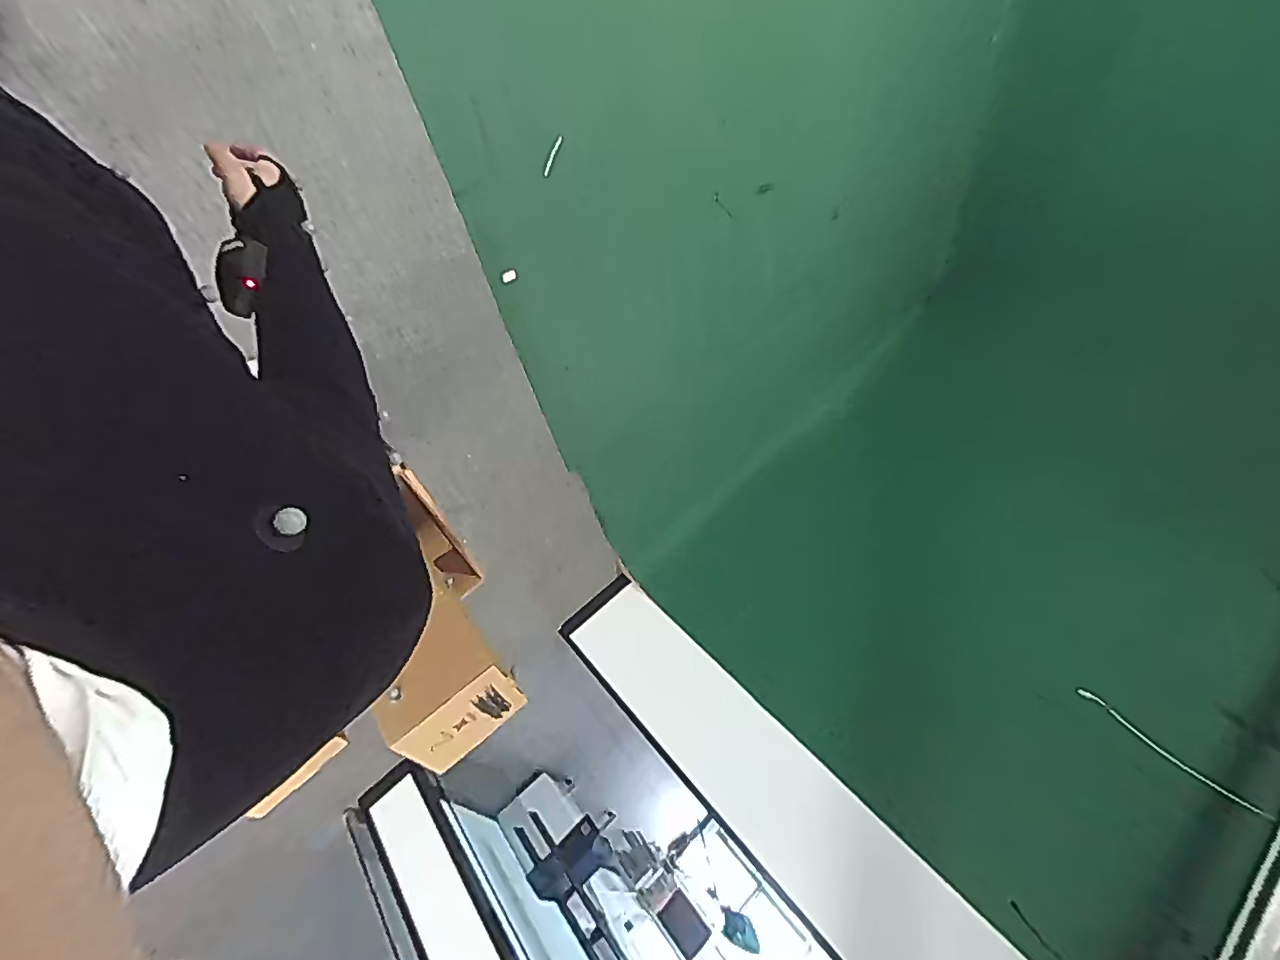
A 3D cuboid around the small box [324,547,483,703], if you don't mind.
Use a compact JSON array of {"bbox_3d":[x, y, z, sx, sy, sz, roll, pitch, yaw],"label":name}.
[{"bbox_3d":[-0.422,0.253,0.968,0.179,0.176,0.168,-38,142,-18],"label":"small box"}]
